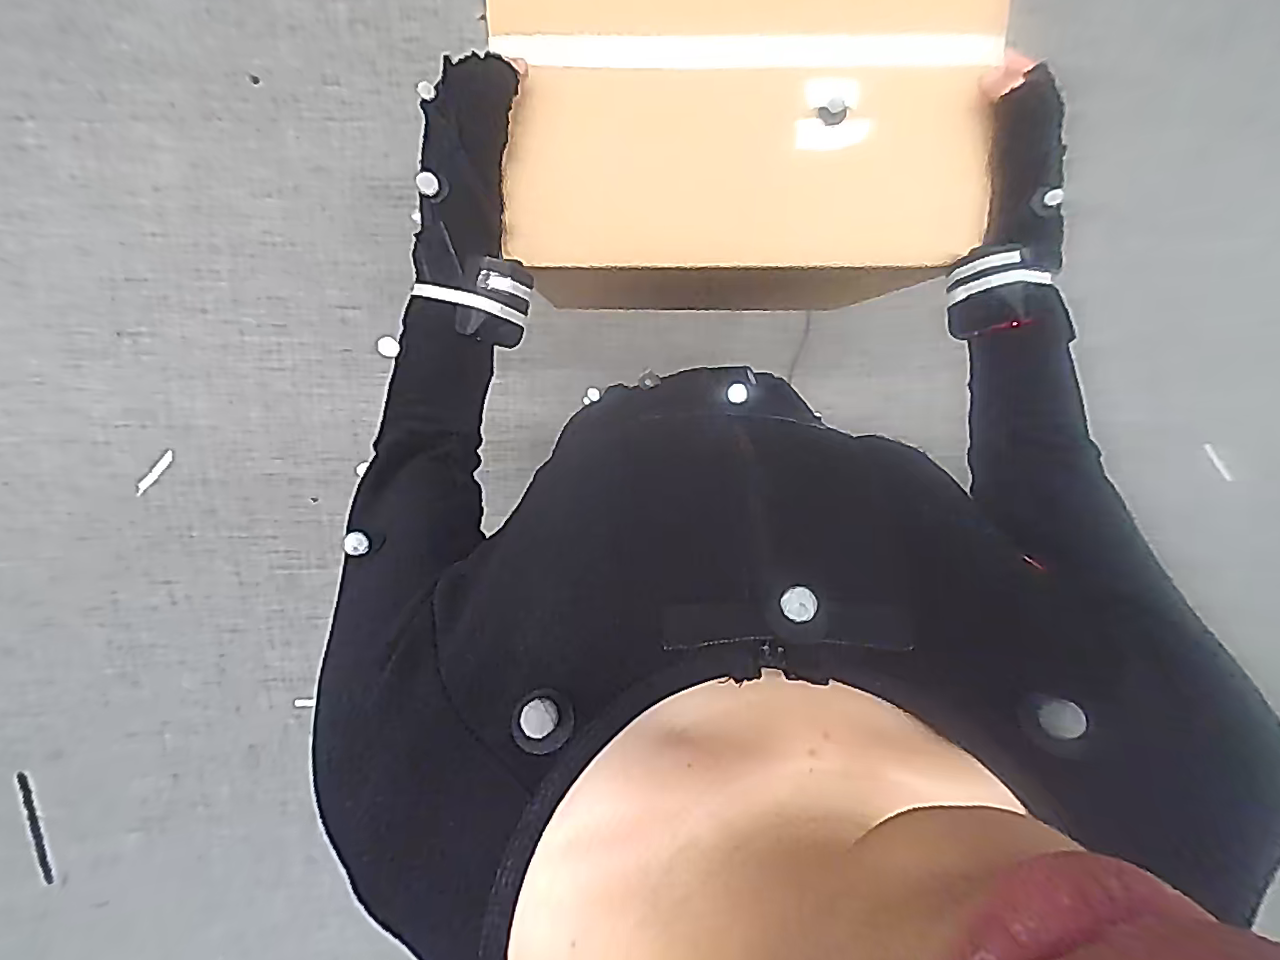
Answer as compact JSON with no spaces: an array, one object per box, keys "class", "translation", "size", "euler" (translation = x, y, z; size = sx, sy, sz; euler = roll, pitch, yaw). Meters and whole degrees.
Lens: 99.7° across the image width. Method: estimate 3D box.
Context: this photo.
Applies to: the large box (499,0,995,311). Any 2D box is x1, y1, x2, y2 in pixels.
[{"class":"large box","translation":[0.082,-0.367,0.585],"size":[0.408,0.320,0.320],"euler":[-1,101,-1]}]
